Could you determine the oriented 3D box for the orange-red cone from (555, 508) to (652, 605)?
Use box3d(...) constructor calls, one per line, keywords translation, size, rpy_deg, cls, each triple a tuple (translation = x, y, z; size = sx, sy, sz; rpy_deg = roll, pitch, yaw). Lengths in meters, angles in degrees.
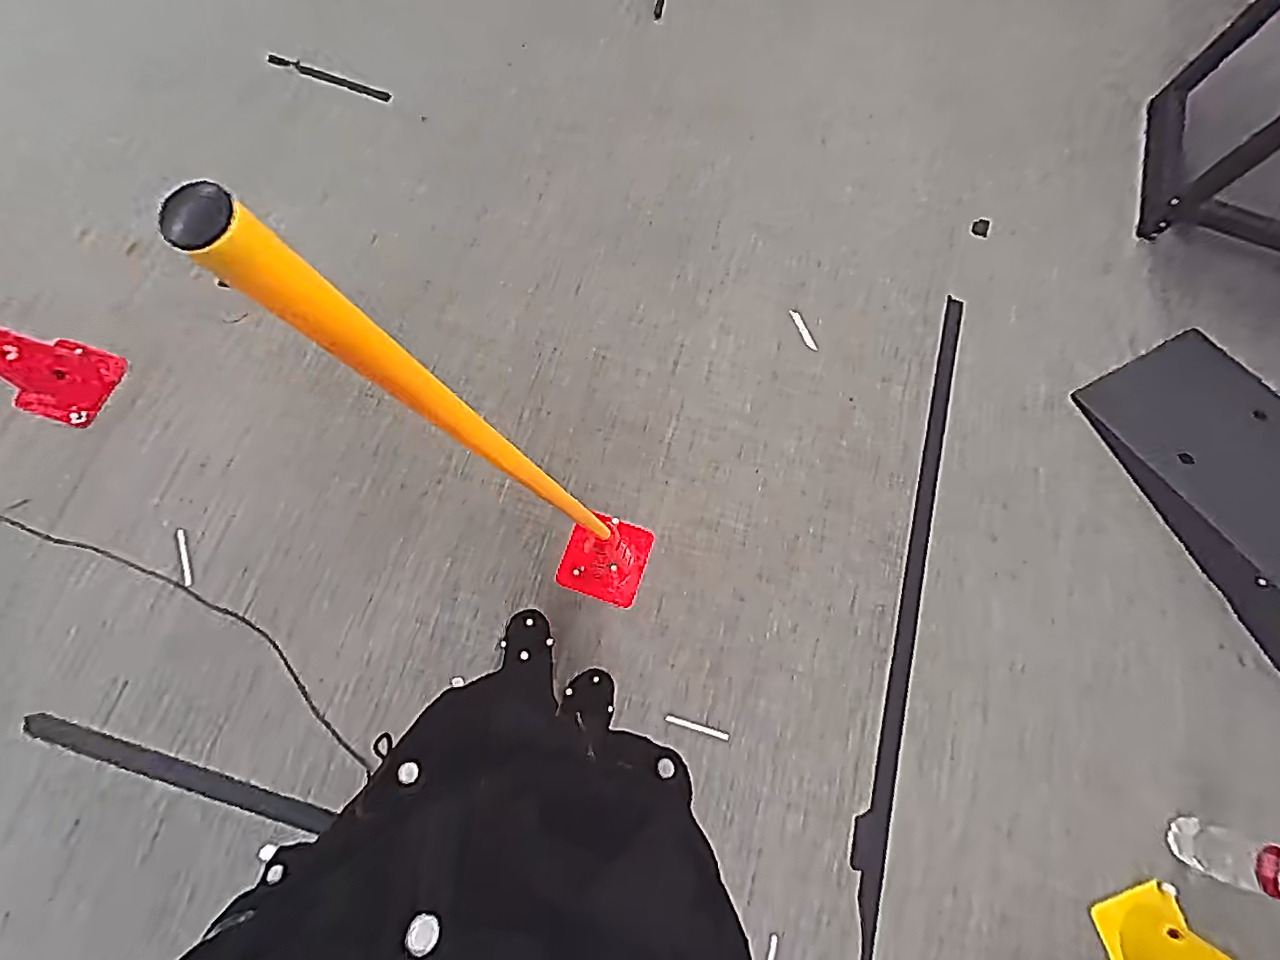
box3d(translation=(-0.076, 0.140, 1.148), size=(0.199, 0.360, 0.198), rpy_deg=(21, 75, 1), cls="orange-red cone")
